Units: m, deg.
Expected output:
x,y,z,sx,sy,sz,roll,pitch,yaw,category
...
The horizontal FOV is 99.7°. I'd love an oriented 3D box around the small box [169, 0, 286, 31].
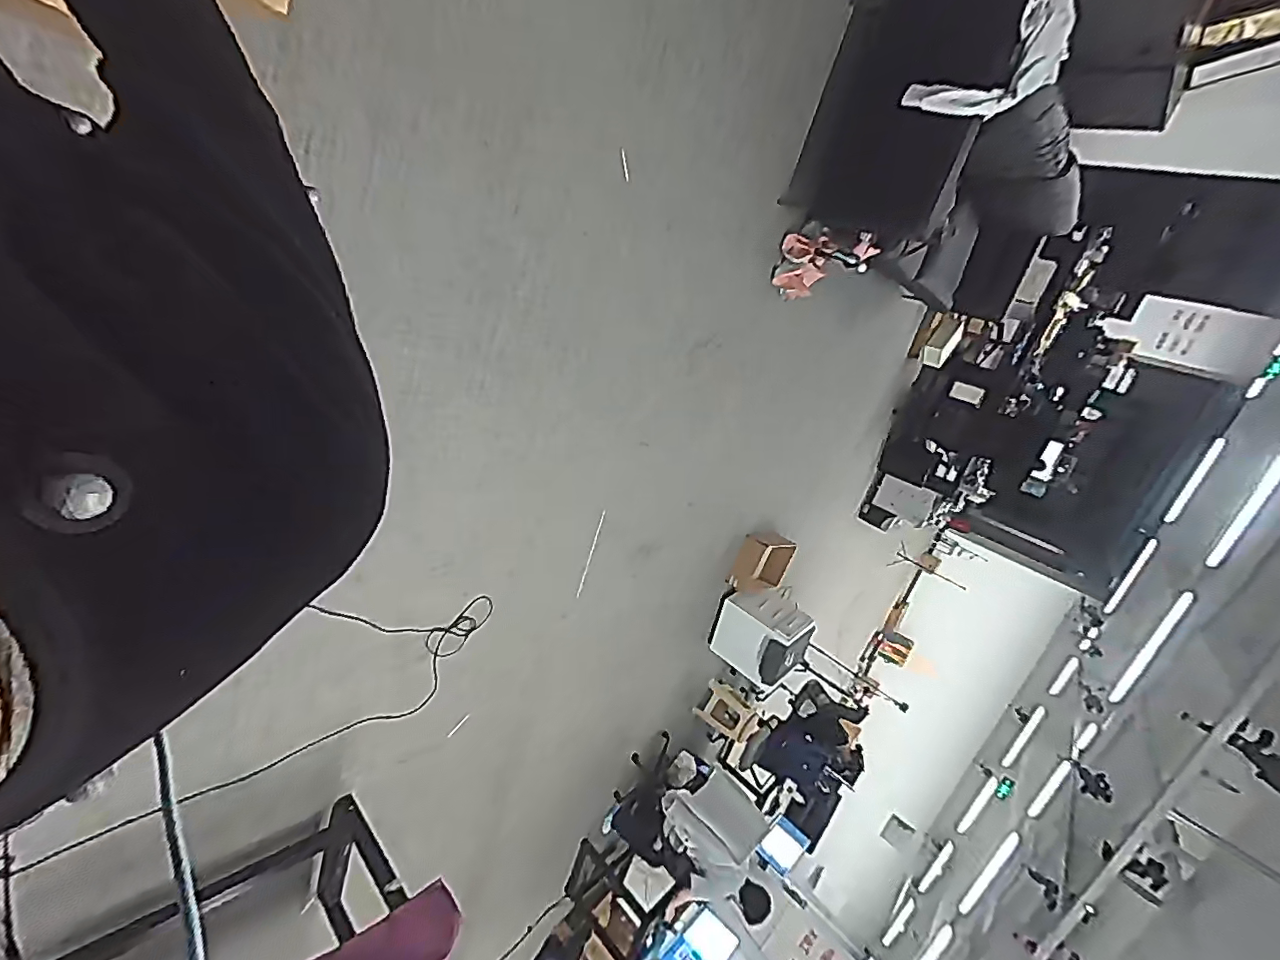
x,y,z,sx,sy,sz,roll,pitch,yaw,category
-0.432,-0.550,0.485,0.179,0.176,0.168,3,112,-52,small box
